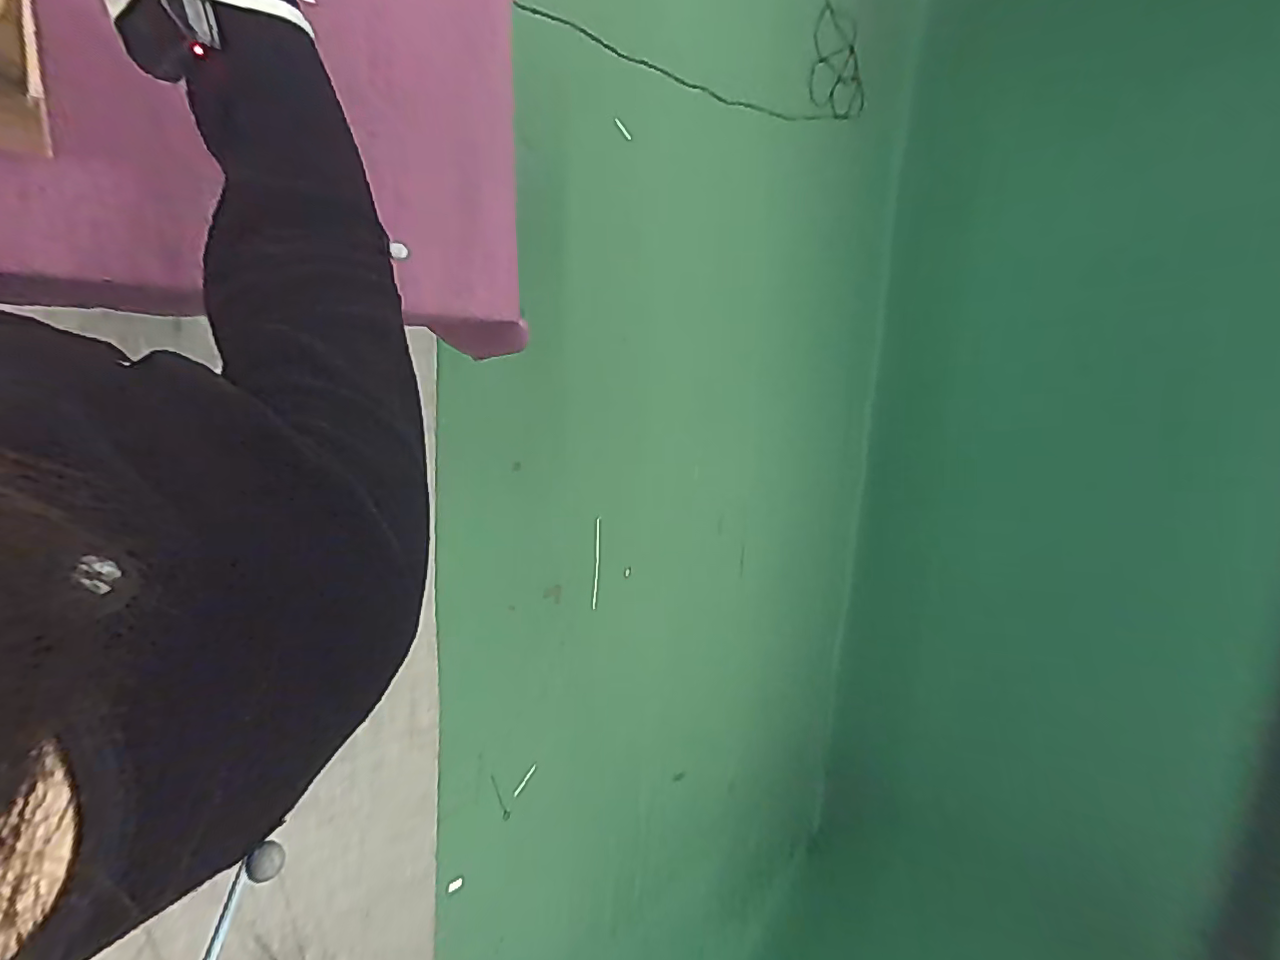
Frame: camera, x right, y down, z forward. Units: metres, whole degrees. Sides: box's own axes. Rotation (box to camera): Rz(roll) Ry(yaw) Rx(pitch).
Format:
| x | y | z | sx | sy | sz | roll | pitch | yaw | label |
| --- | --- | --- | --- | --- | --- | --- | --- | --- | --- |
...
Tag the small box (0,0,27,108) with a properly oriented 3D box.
| x | y | z | sx | sy | sz | roll | pitch | yaw | label |
| --- | --- | --- | --- | --- | --- | --- | --- | --- | --- |
| -0.451 | -0.344 | 0.282 | 0.168 | 0.176 | 0.179 | -3 | 101 | -46 | small box |
